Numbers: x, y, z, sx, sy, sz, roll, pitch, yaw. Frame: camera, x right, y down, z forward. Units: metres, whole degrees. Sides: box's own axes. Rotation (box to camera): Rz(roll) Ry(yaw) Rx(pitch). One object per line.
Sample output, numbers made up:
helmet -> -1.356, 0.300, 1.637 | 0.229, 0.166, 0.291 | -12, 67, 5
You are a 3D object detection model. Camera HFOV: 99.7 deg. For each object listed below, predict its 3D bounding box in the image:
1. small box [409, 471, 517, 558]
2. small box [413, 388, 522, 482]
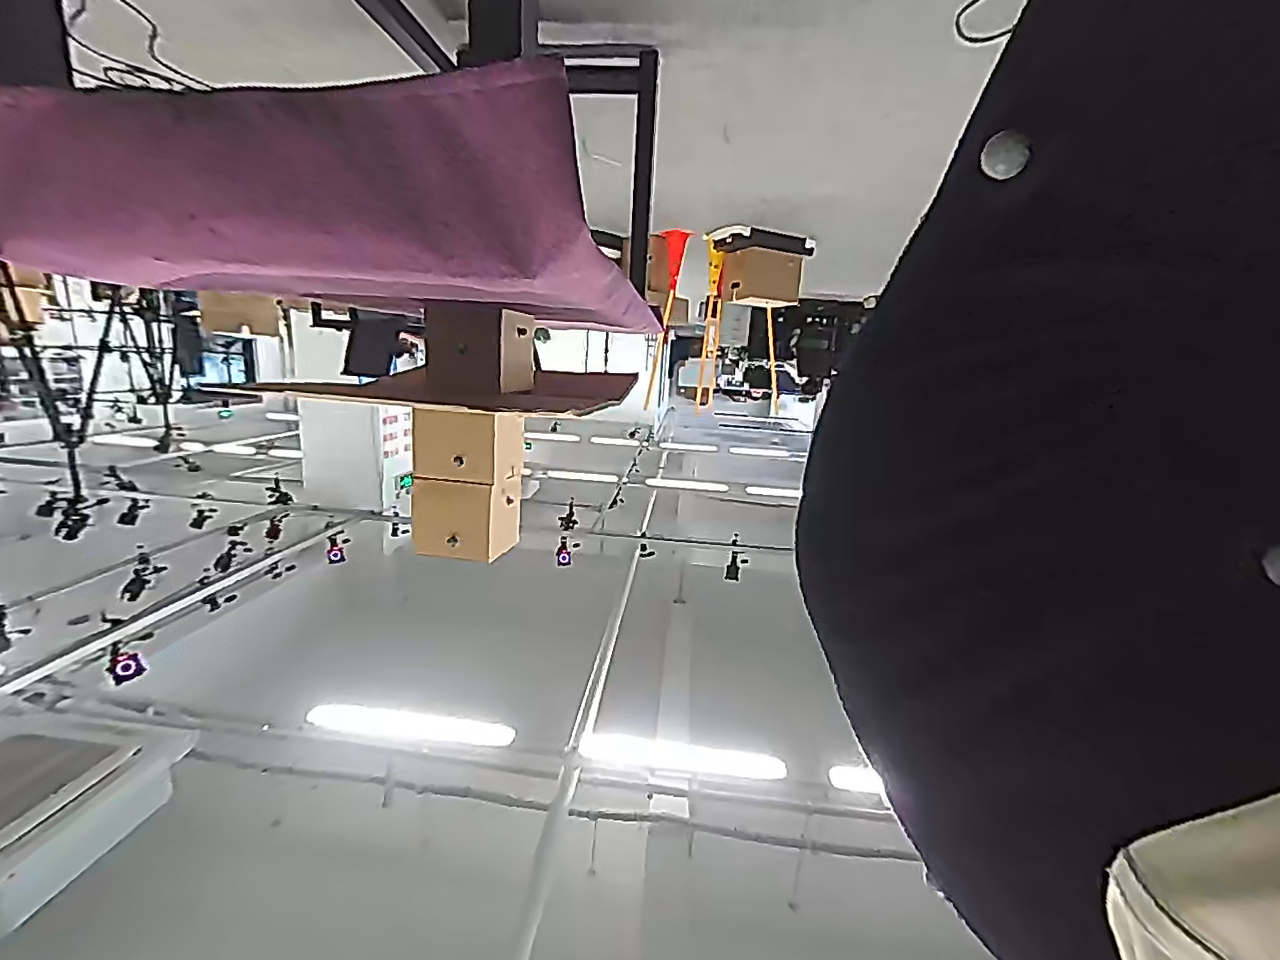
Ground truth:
small box -> -0.375, 0.058, 1.168 | 0.179, 0.176, 0.168 | 5, -170, 9
small box -> -0.357, -0.100, 1.134 | 0.179, 0.176, 0.168 | 6, -169, 7
